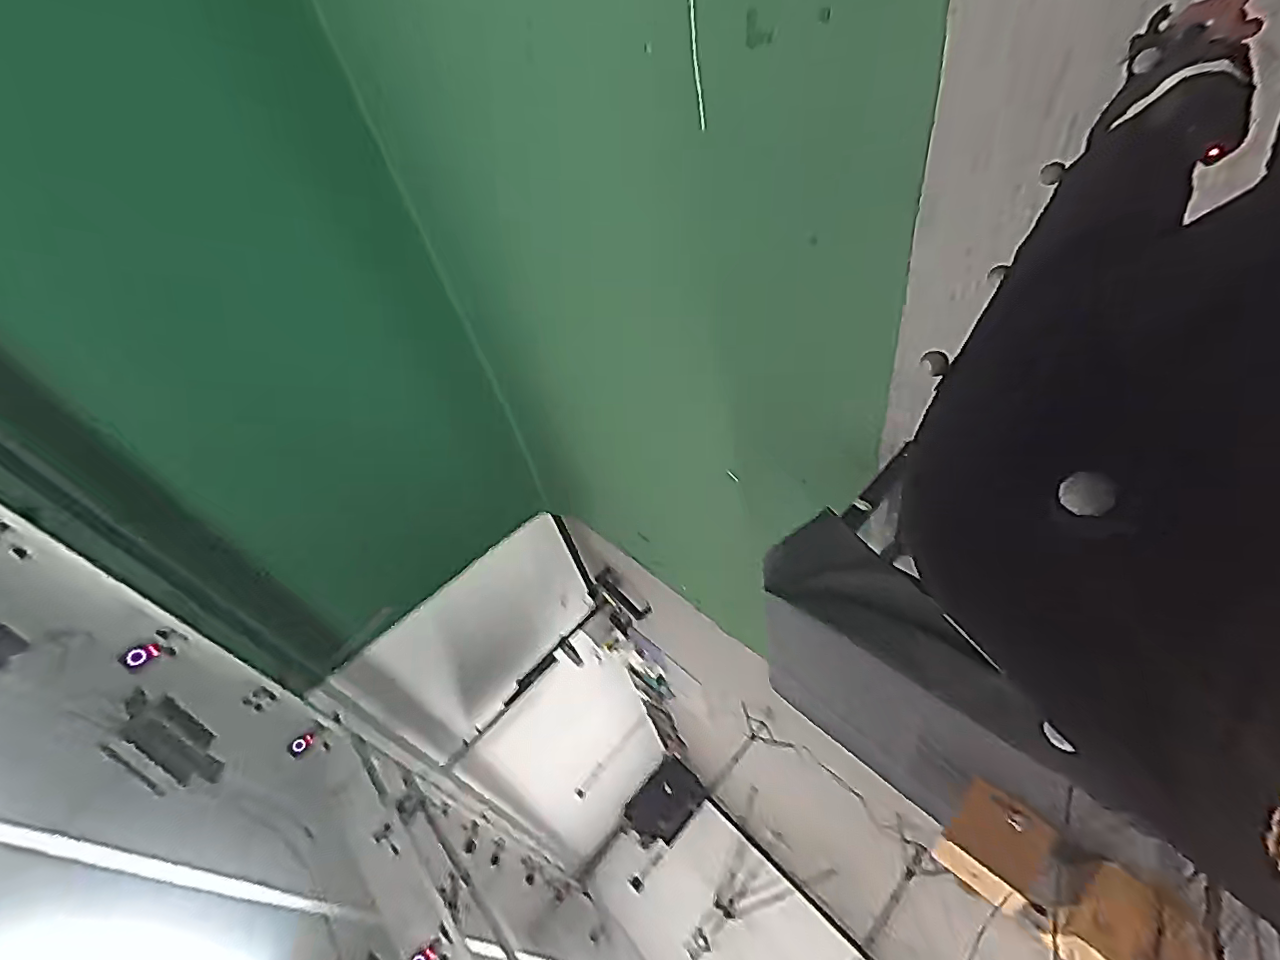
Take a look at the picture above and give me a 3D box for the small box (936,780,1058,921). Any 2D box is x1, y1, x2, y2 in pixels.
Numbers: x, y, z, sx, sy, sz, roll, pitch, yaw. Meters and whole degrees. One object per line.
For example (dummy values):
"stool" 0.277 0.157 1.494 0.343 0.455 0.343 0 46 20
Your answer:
"small box" 0.774 0.802 1.179 0.168 0.176 0.179 25 146 40

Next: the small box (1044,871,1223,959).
"small box" 0.927 0.878 1.023 0.179 0.176 0.168 34 152 30
